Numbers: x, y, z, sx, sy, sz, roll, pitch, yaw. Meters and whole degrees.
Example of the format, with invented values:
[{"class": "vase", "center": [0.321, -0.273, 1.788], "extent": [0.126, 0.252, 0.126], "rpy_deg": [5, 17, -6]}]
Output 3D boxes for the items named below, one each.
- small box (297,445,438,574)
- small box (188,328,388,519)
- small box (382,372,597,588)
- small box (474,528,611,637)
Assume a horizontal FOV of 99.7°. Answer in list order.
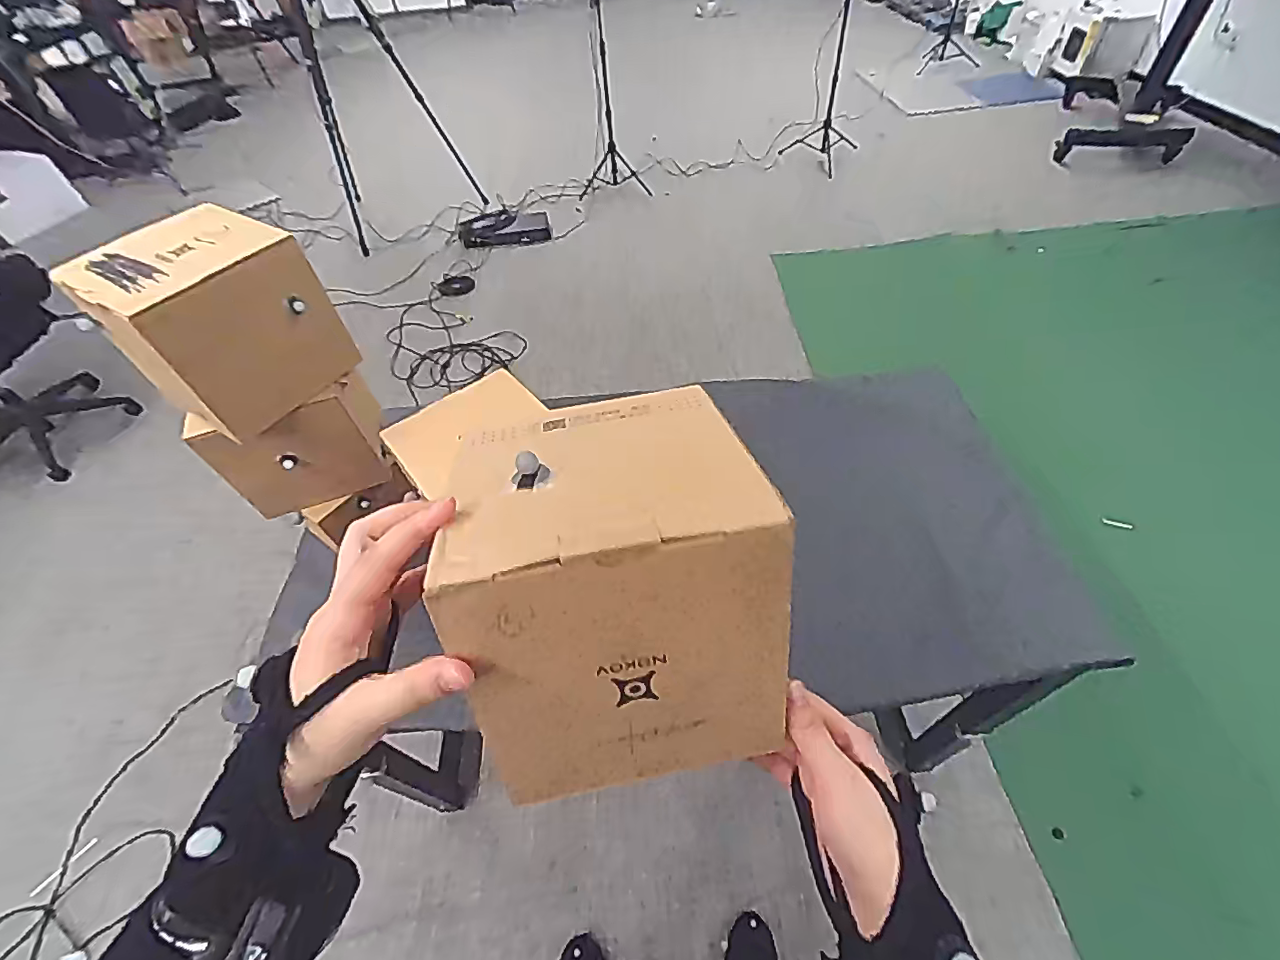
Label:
[{"class": "small box", "center": [-0.457, 0.024, 0.882], "extent": [0.179, 0.176, 0.168], "rpy_deg": [28, 59, 25]}, {"class": "small box", "center": [-0.469, -0.076, 0.752], "extent": [0.179, 0.176, 0.168], "rpy_deg": [-20, 53, -10]}, {"class": "small box", "center": [-0.171, 0.008, 0.658], "extent": [0.168, 0.176, 0.179], "rpy_deg": [-35, 55, -21]}, {"class": "small box", "center": [-0.154, 0.105, 0.787], "extent": [0.168, 0.176, 0.179], "rpy_deg": [-25, 52, -15]}]
